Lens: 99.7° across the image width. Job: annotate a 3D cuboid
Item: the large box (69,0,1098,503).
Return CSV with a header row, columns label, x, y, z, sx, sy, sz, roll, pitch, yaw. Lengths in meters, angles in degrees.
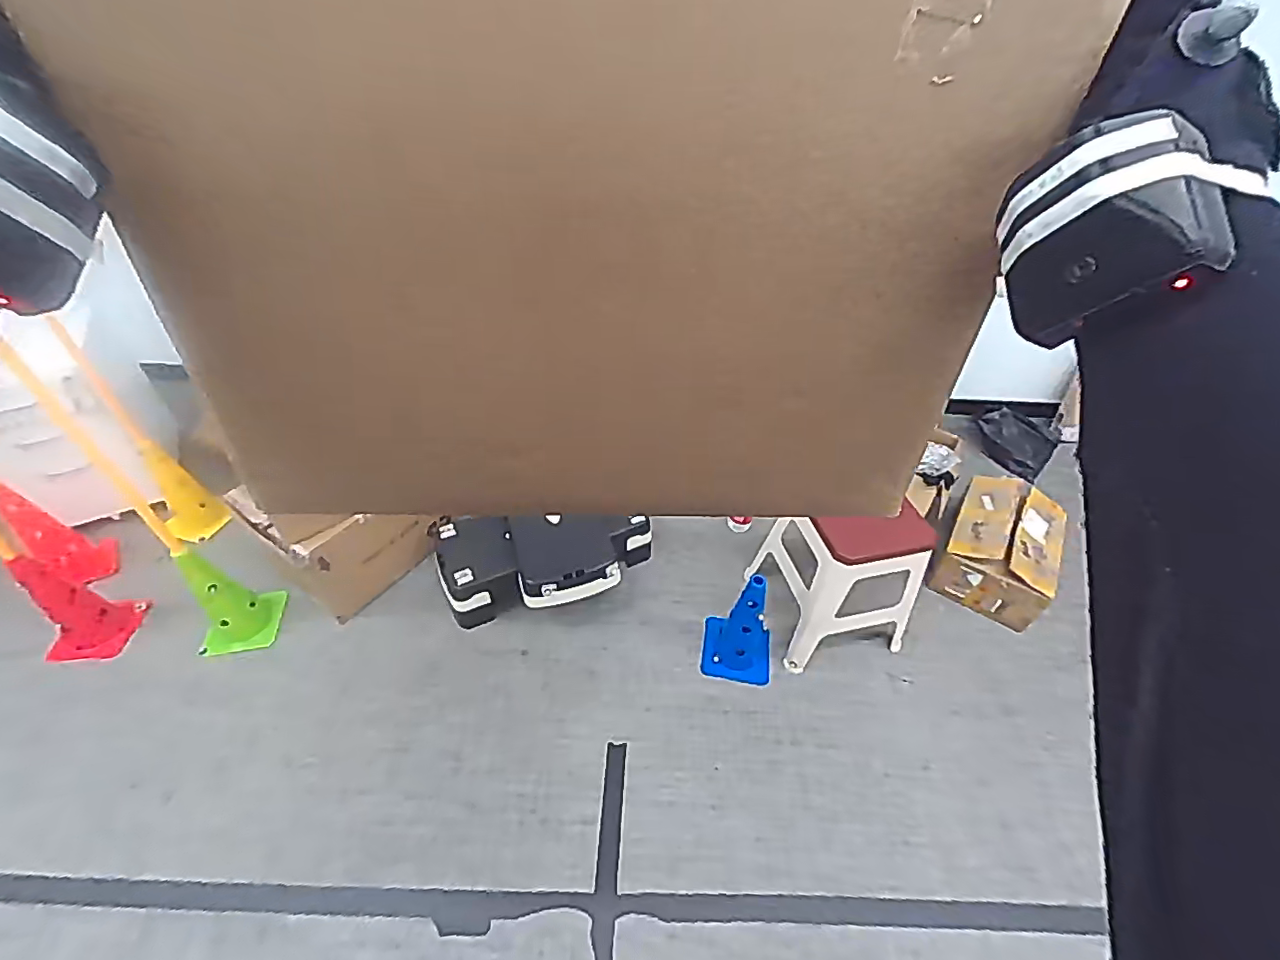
label,x,y,z,sx,sy,sz,roll,pitch,yaw
large box,-0.029,-0.193,0.381,0.408,0.320,0.320,1,38,-5
